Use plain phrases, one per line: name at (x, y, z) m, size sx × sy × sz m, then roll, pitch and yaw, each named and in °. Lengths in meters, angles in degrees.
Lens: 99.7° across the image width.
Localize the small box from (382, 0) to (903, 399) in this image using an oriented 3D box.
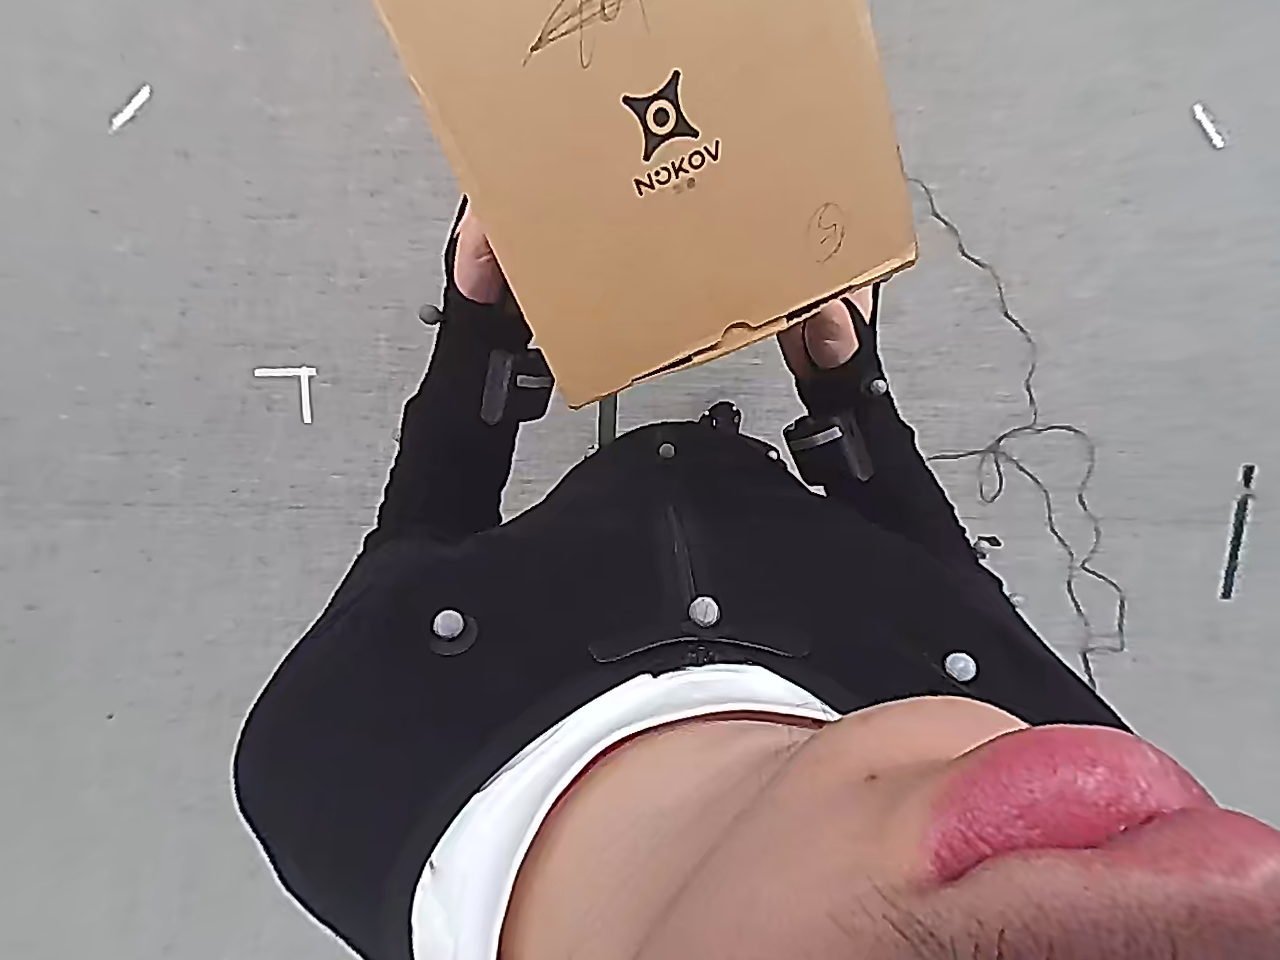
small box at (0.008, -0.170, 0.294) m, size 0.168 × 0.176 × 0.179 m, roll -23°, pitch 110°, yaw 7°
